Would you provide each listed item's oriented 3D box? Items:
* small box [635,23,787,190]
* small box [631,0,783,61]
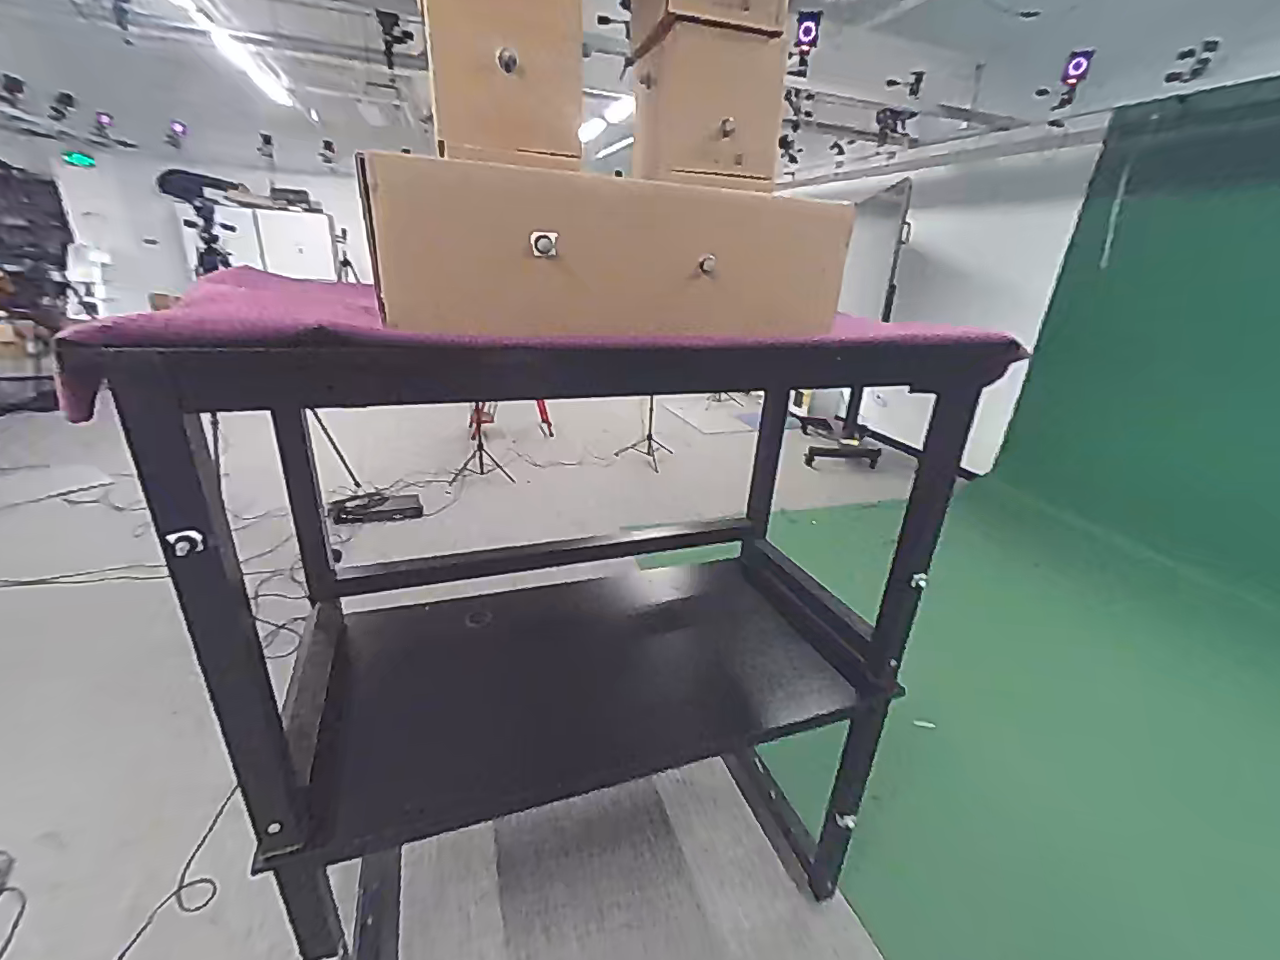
[{"bbox_3d":[0.093,-0.534,0.804,0.168,0.176,0.179,-6,24,-17],"label":"small box"},{"bbox_3d":[0.087,-0.681,0.734,0.168,0.176,0.179,-5,24,-16],"label":"small box"}]
